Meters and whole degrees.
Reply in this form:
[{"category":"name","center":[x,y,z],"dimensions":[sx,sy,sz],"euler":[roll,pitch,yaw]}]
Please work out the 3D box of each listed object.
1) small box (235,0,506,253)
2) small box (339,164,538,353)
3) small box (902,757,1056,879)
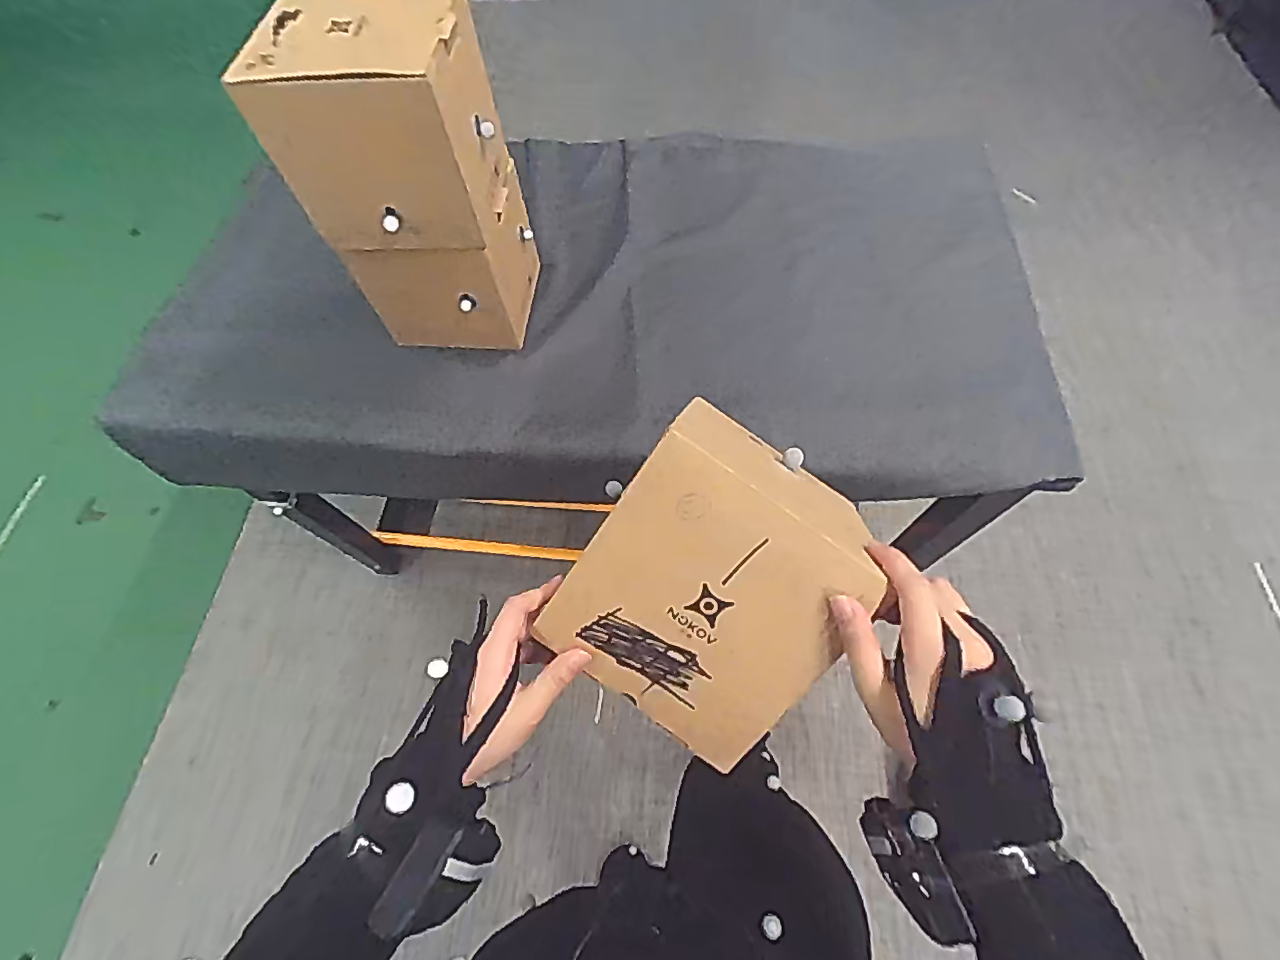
[{"category":"small box","center":[-0.248,-0.354,0.555],"dimensions":[0.179,0.176,0.168],"euler":[0,61,2]},{"category":"small box","center":[-0.241,-0.281,0.703],"dimensions":[0.179,0.176,0.168],"euler":[2,61,4]},{"category":"small box","center":[0.620,0.620,1.011],"dimensions":[0.179,0.176,0.168],"euler":[4,62,5]}]
